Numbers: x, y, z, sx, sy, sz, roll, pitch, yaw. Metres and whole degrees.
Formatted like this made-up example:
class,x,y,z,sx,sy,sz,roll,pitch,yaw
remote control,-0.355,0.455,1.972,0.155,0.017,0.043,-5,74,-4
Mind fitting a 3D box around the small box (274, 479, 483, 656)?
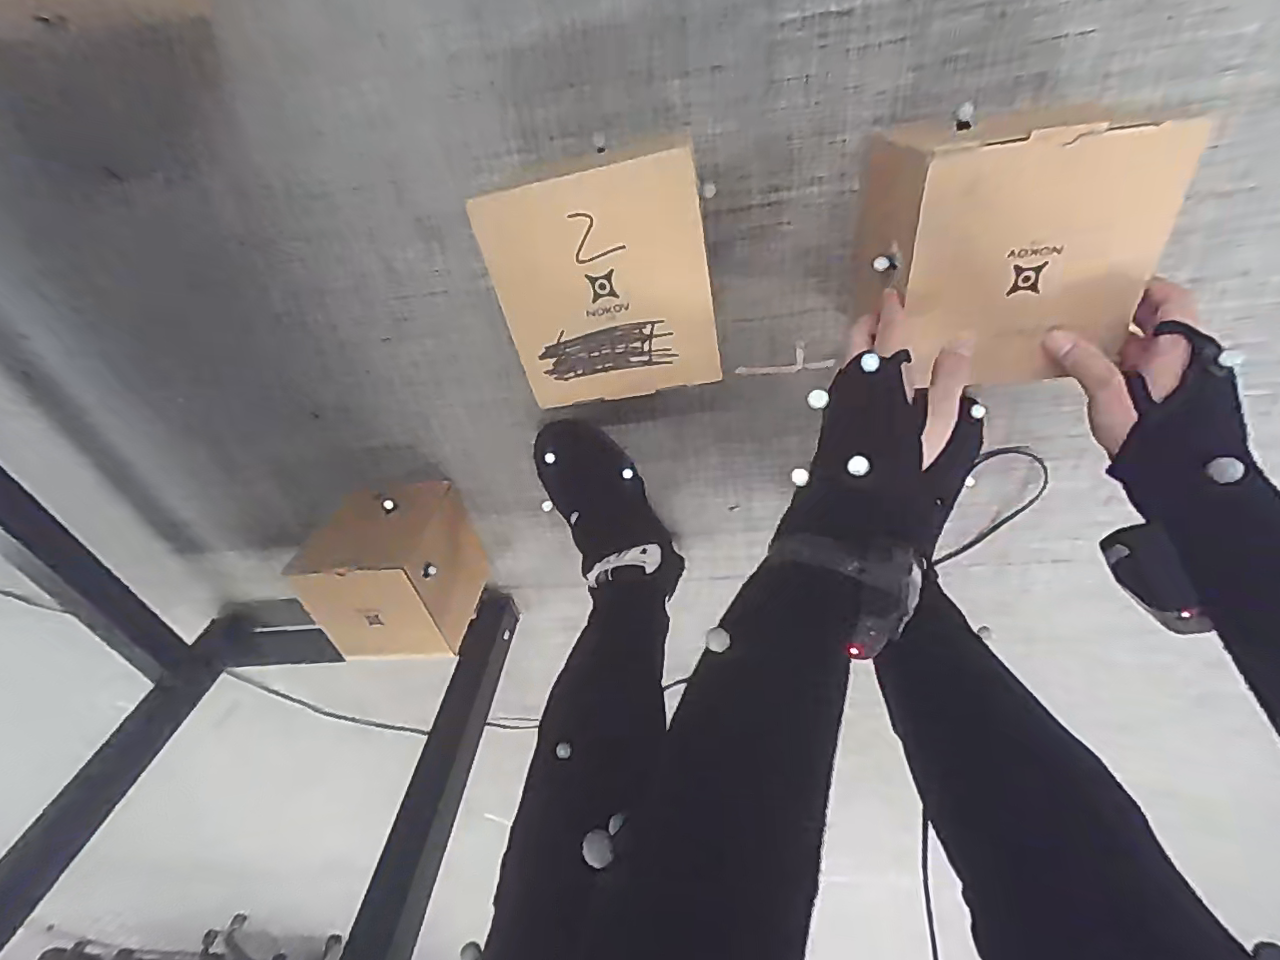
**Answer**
class,x,y,z,sx,sy,sz,roll,pitch,yaw
small box,-0.339,0.120,0.746,0.168,0.176,0.179,-5,125,10
